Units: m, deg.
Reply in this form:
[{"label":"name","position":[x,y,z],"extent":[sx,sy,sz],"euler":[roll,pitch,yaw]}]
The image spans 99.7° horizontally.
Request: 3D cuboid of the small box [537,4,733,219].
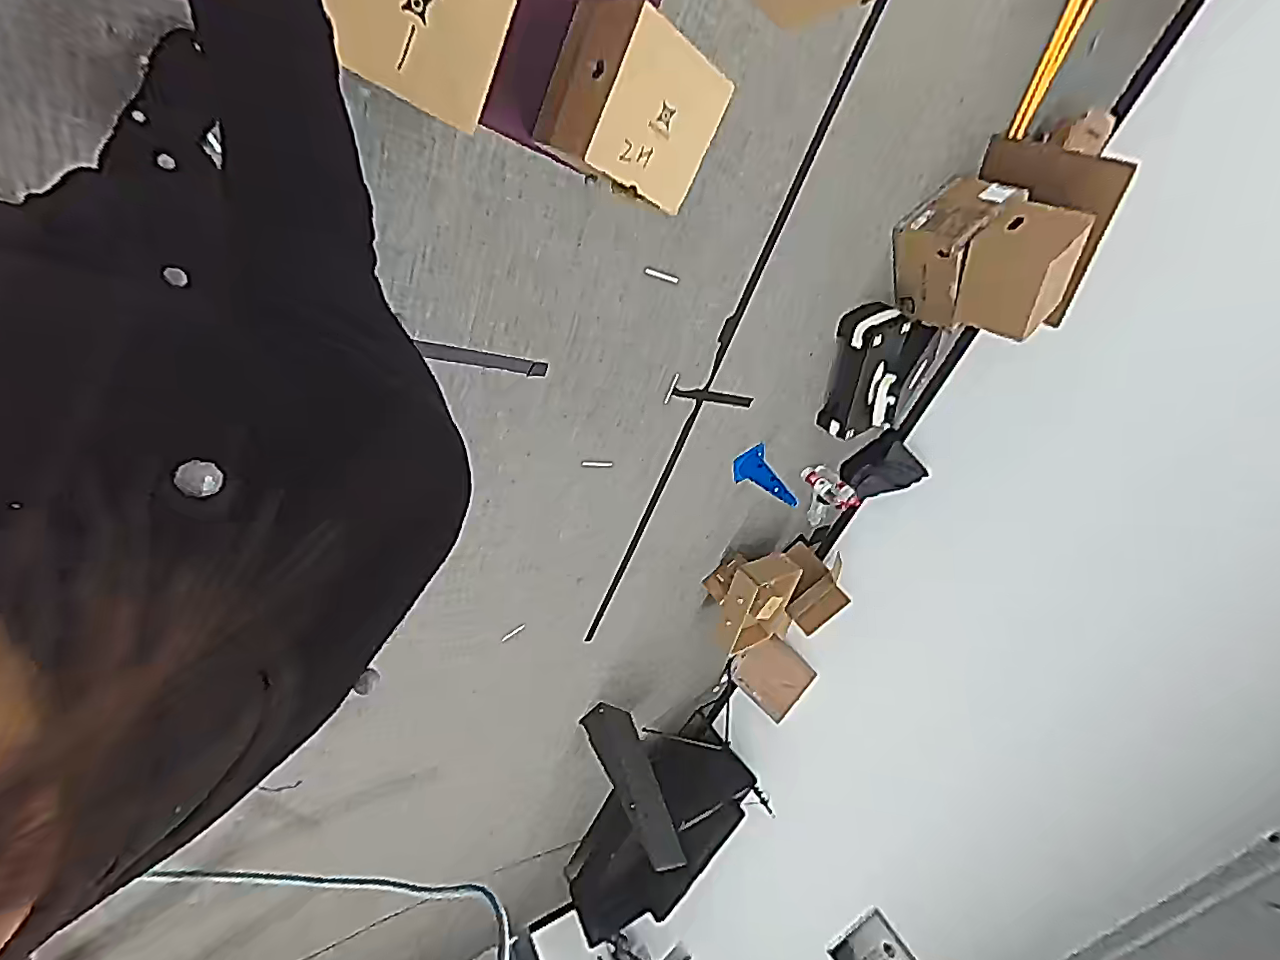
[{"label":"small box","position":[-0.016,-0.493,0.731],"extent":[0.168,0.176,0.179],"euler":[8,119,-42]}]
